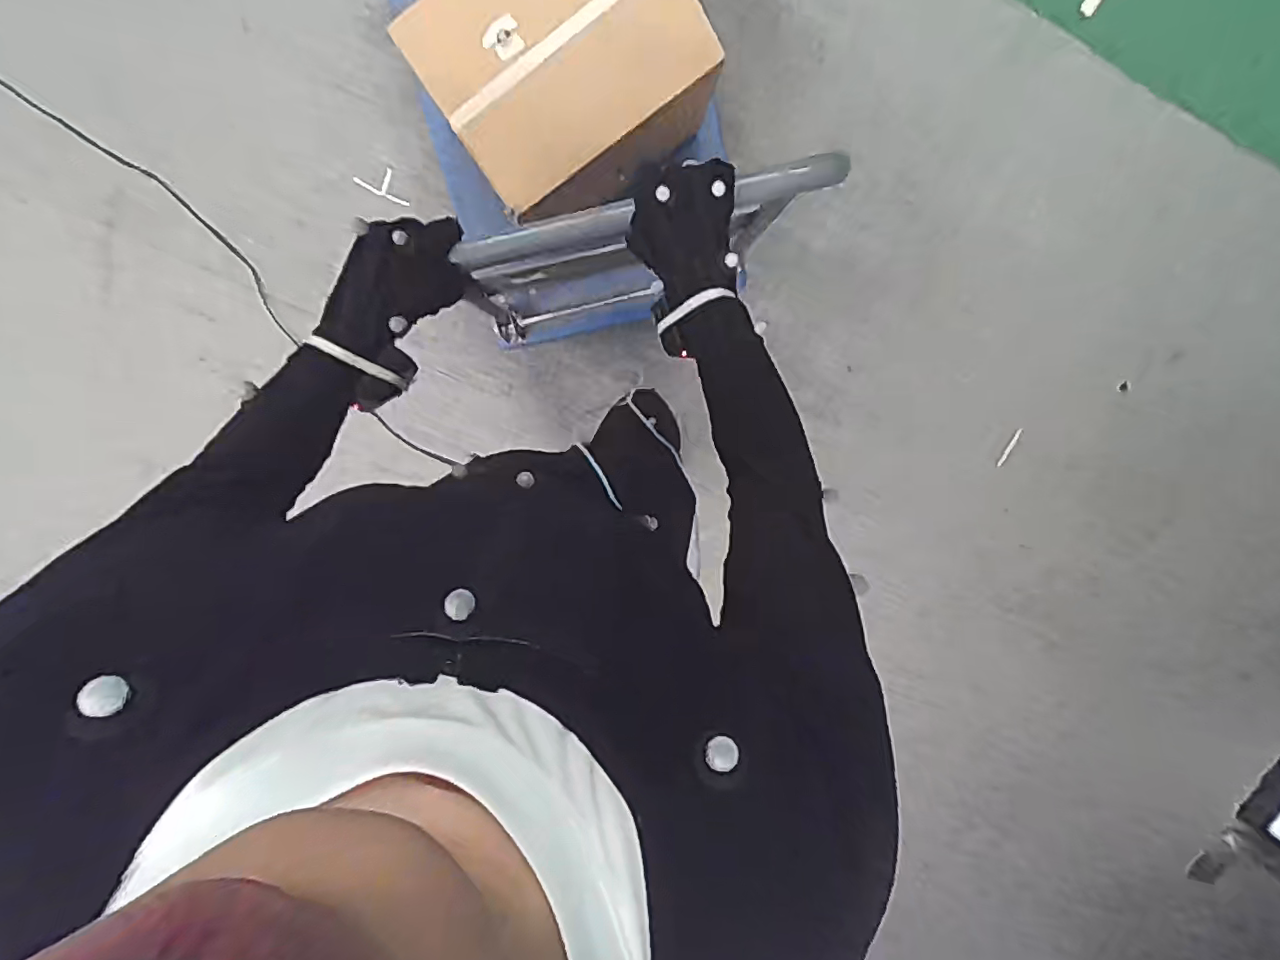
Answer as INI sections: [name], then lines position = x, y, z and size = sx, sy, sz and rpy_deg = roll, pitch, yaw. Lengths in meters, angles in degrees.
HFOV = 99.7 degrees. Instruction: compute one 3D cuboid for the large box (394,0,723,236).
[large box]
position = -0.122, -0.703, 0.949
size = 0.408, 0.320, 0.320
rpy_deg = -33, 103, 7
